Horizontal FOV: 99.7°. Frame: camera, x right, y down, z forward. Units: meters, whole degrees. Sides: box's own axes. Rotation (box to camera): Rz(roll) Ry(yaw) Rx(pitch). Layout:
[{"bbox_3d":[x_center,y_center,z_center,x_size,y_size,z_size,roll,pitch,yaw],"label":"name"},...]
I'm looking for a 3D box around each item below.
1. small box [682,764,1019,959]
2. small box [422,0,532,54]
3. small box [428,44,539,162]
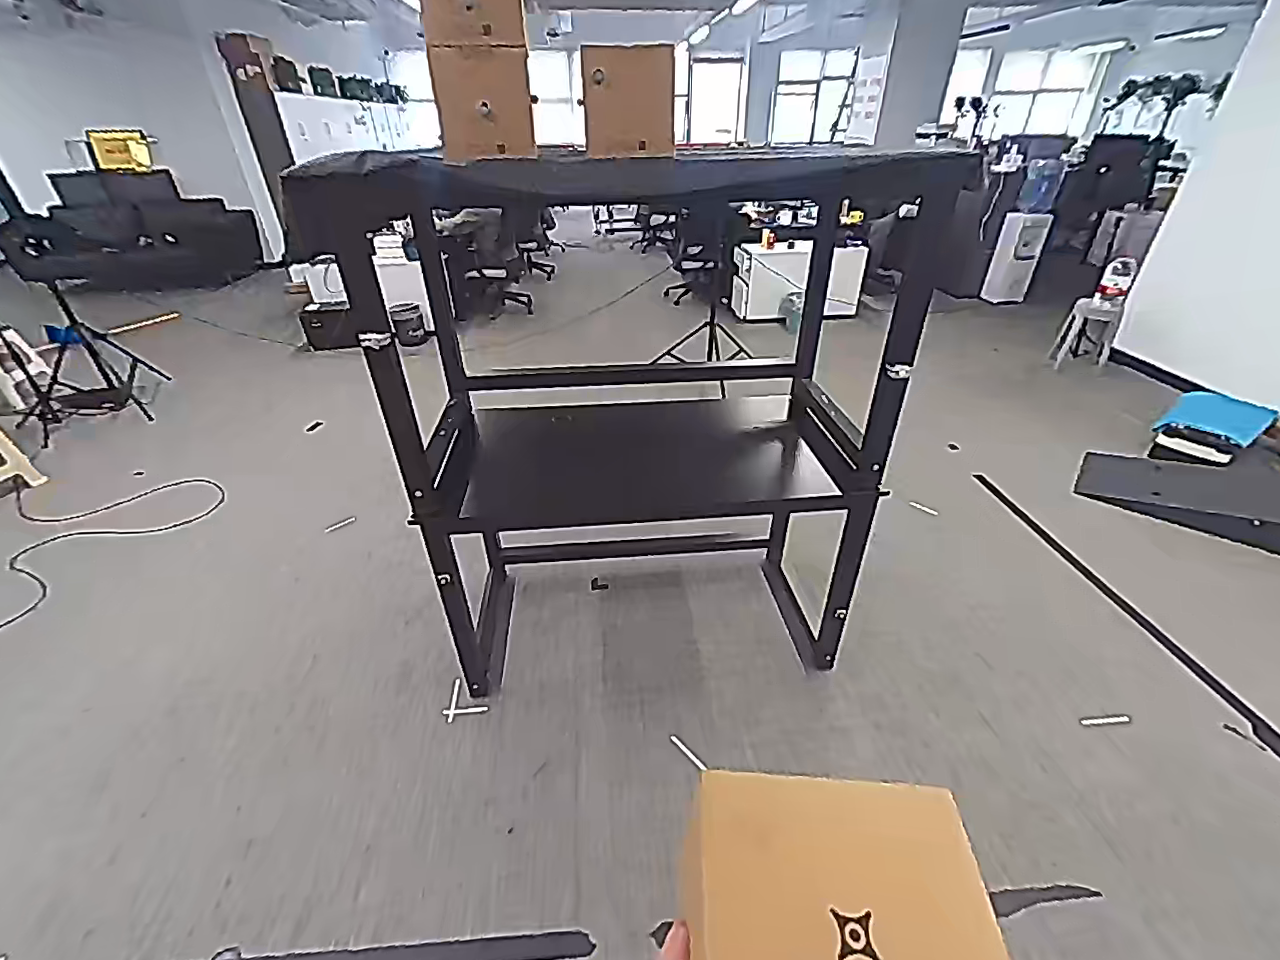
[{"bbox_3d":[0.114,0.309,0.335,0.168,0.176,0.179,4,39,2],"label":"small box"},{"bbox_3d":[-0.278,-0.831,0.916,0.168,0.176,0.179,-6,33,-6],"label":"small box"},{"bbox_3d":[-0.278,-0.690,1.001,0.168,0.176,0.179,-5,33,-8],"label":"small box"}]
